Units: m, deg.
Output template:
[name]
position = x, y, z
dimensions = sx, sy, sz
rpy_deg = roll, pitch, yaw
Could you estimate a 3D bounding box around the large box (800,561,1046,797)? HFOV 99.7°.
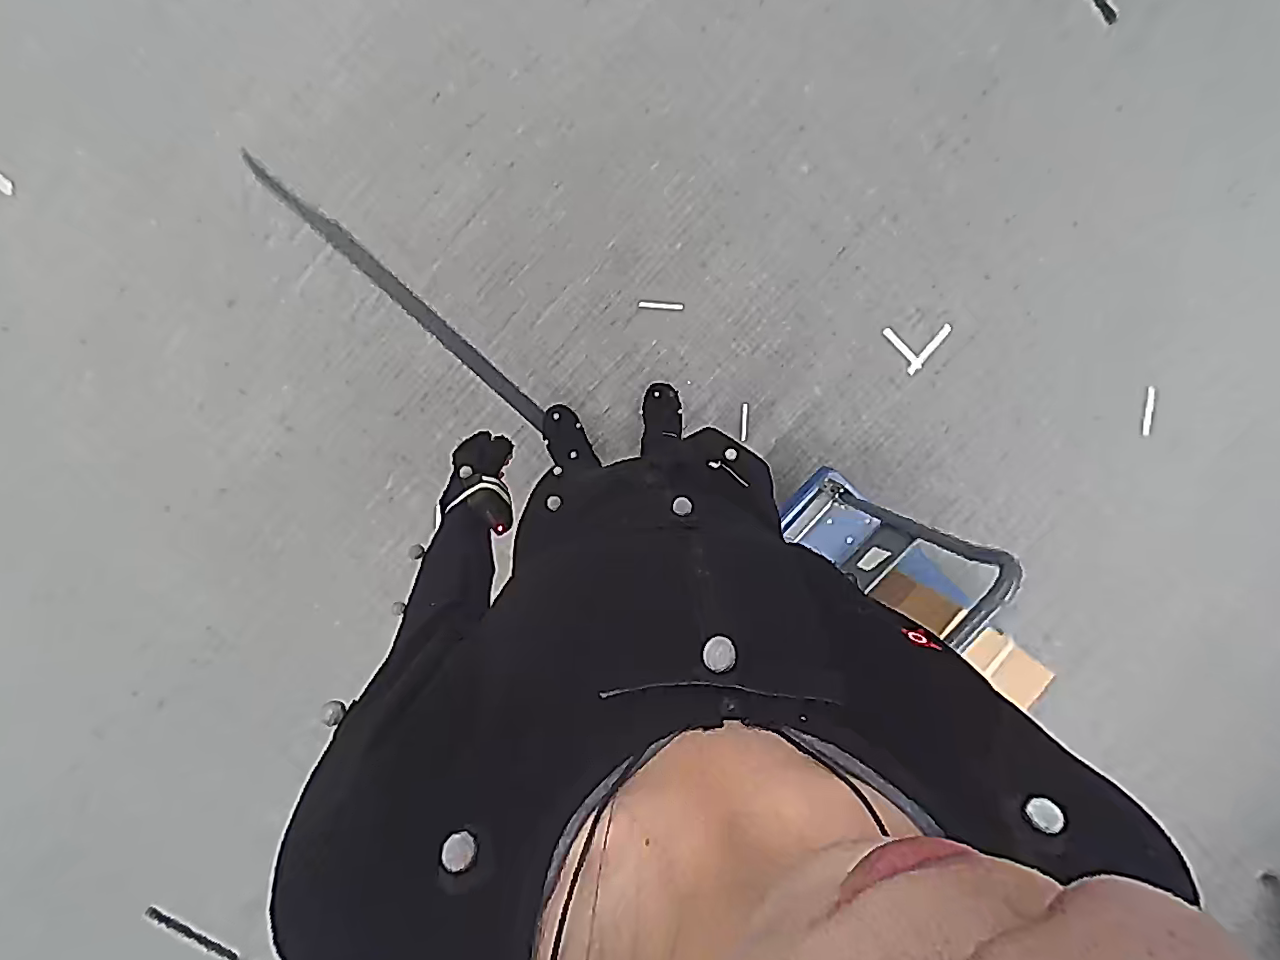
[large box]
position = 0.693, 0.485, 1.382
dimensions = 0.320, 0.320, 0.408
rpy_deg = 34, 96, -11
